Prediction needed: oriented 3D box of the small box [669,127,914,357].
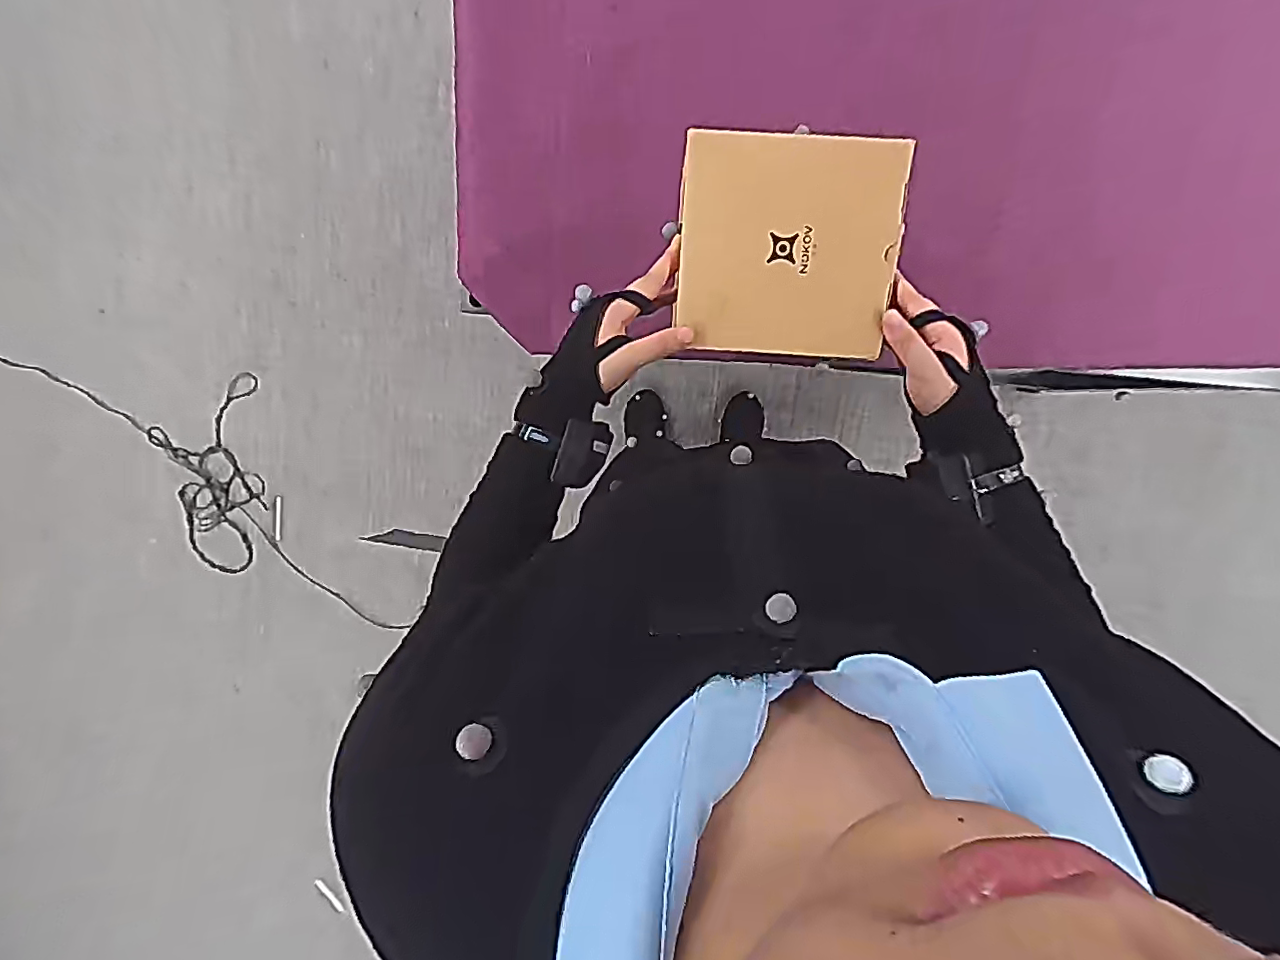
[{"bbox_3d":[0.119,-0.204,0.507,0.179,0.176,0.168,3,104,0],"label":"small box"}]
